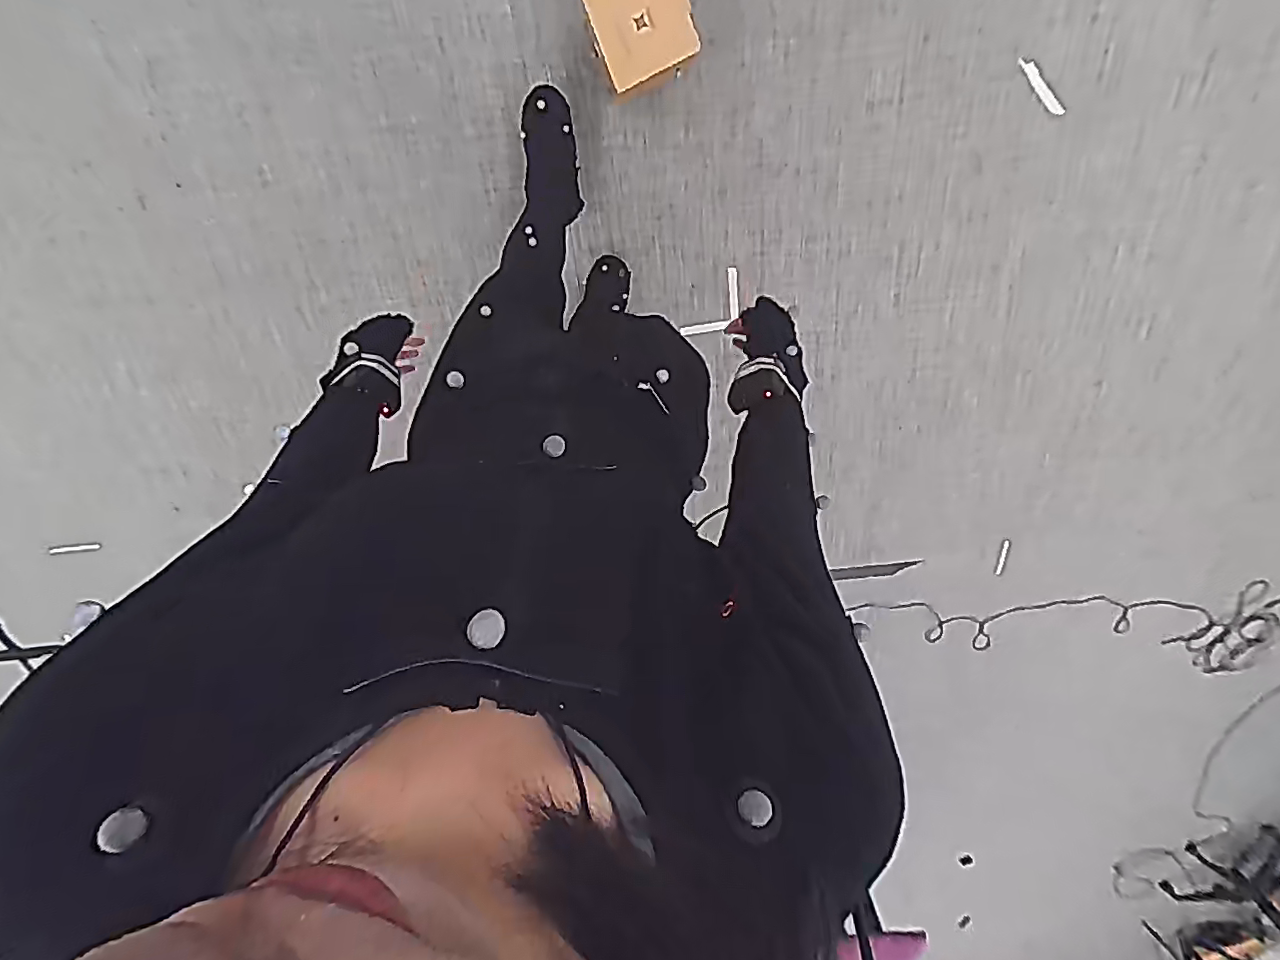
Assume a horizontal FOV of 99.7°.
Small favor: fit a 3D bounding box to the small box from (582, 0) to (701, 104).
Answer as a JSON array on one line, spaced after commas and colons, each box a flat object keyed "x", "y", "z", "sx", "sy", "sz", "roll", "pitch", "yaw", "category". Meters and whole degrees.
[{"x": 0.000, "y": -0.869, "z": 1.050, "sx": 0.179, "sy": 0.176, "sz": 0.168, "roll": -23, "pitch": 116, "yaw": 10, "category": "small box"}]
